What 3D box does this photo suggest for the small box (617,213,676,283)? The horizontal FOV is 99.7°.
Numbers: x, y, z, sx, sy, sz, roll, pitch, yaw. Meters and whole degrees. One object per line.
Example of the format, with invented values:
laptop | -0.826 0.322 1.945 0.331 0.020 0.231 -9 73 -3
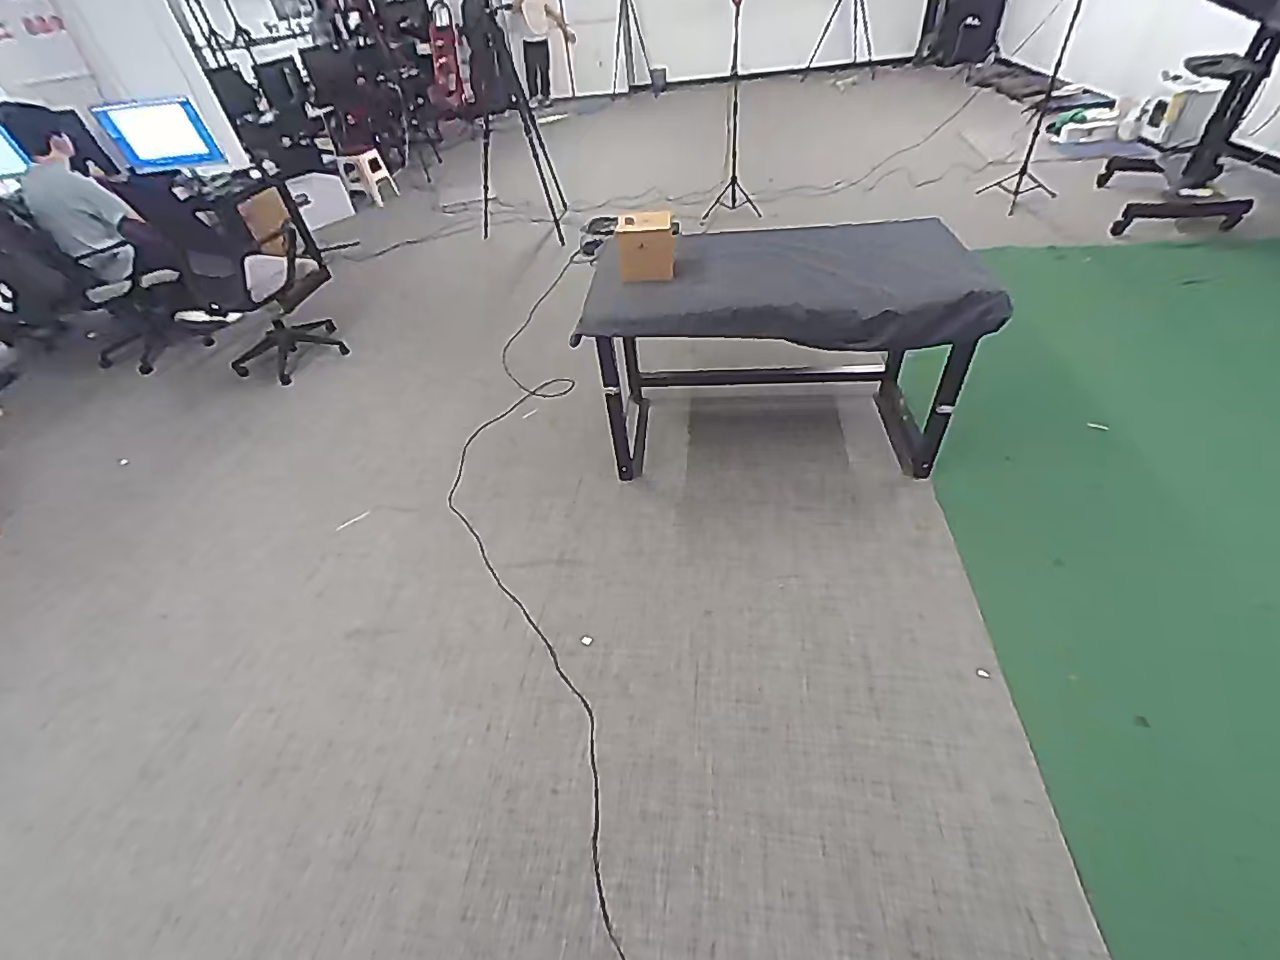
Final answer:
small box | 0.027 -0.765 1.791 0.179 0.176 0.168 -1 44 5
